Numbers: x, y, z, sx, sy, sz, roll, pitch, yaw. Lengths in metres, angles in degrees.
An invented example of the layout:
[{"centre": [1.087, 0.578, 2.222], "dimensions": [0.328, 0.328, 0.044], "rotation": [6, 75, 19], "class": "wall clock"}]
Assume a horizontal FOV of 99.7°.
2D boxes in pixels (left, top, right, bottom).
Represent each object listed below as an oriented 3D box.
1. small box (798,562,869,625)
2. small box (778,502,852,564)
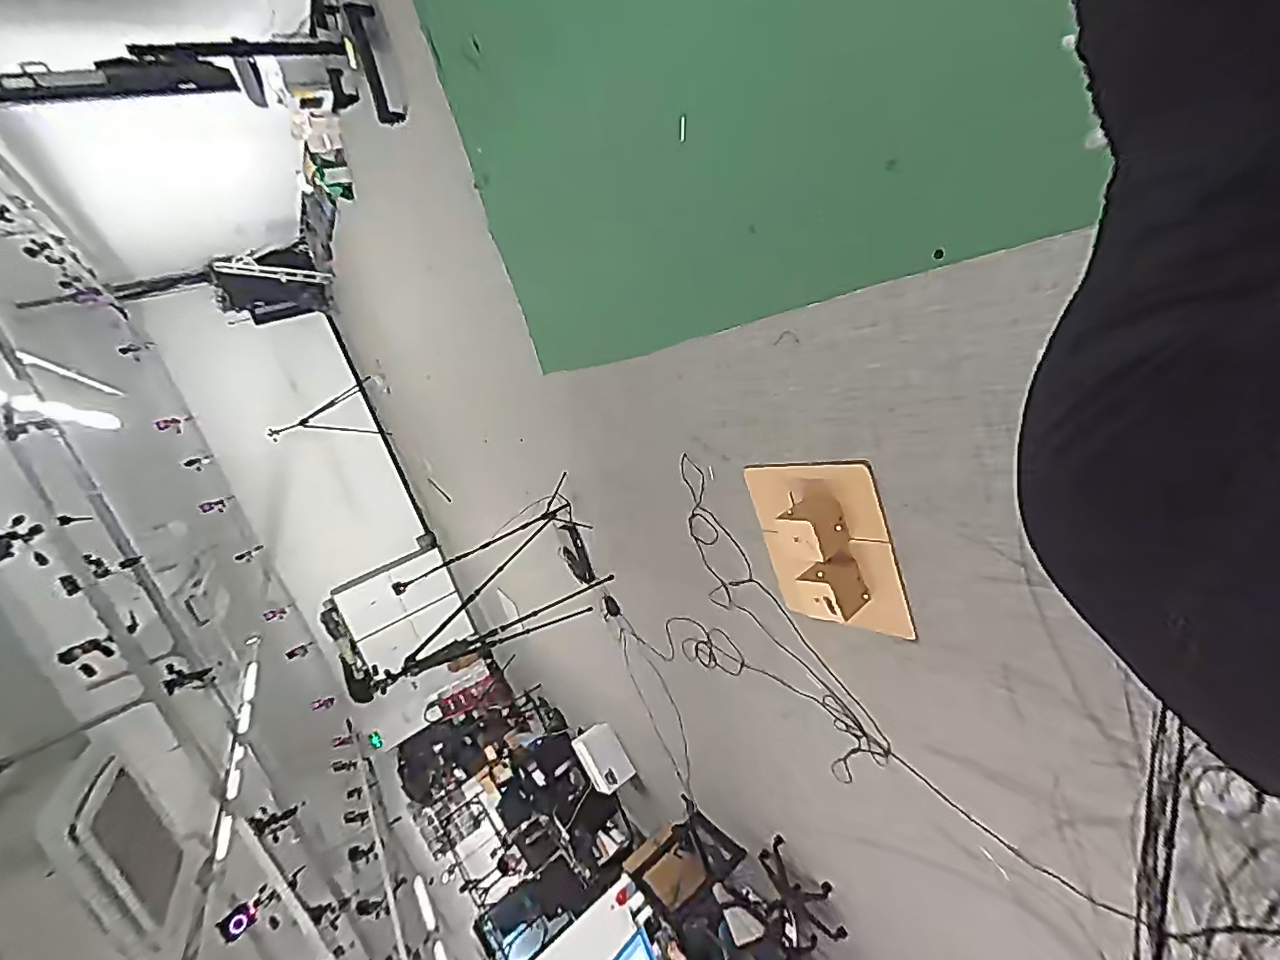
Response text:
[{"centre": [0.739, 0.423, 2.044], "dimensions": [0.179, 0.176, 0.168], "rotation": [-10, 105, 60], "class": "small box"}, {"centre": [0.651, 0.190, 2.004], "dimensions": [0.179, 0.176, 0.168], "rotation": [-1, 113, 58], "class": "small box"}]
